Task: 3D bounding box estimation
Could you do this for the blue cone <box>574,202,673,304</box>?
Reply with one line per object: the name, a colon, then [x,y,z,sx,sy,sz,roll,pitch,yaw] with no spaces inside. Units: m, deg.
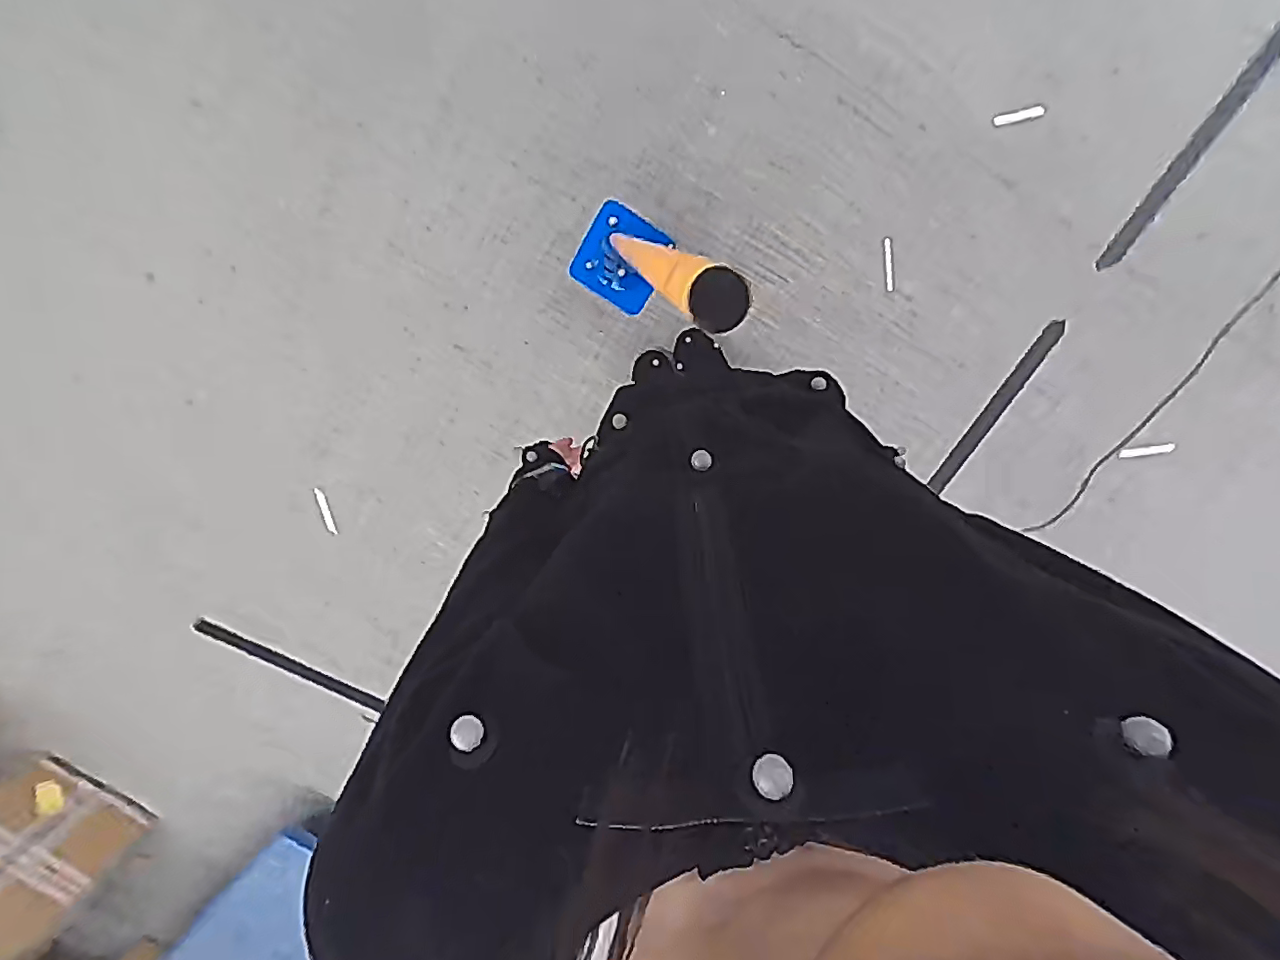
blue cone: [-0.041,-0.488,1.126,0.193,0.380,0.192,32,104,-9]
